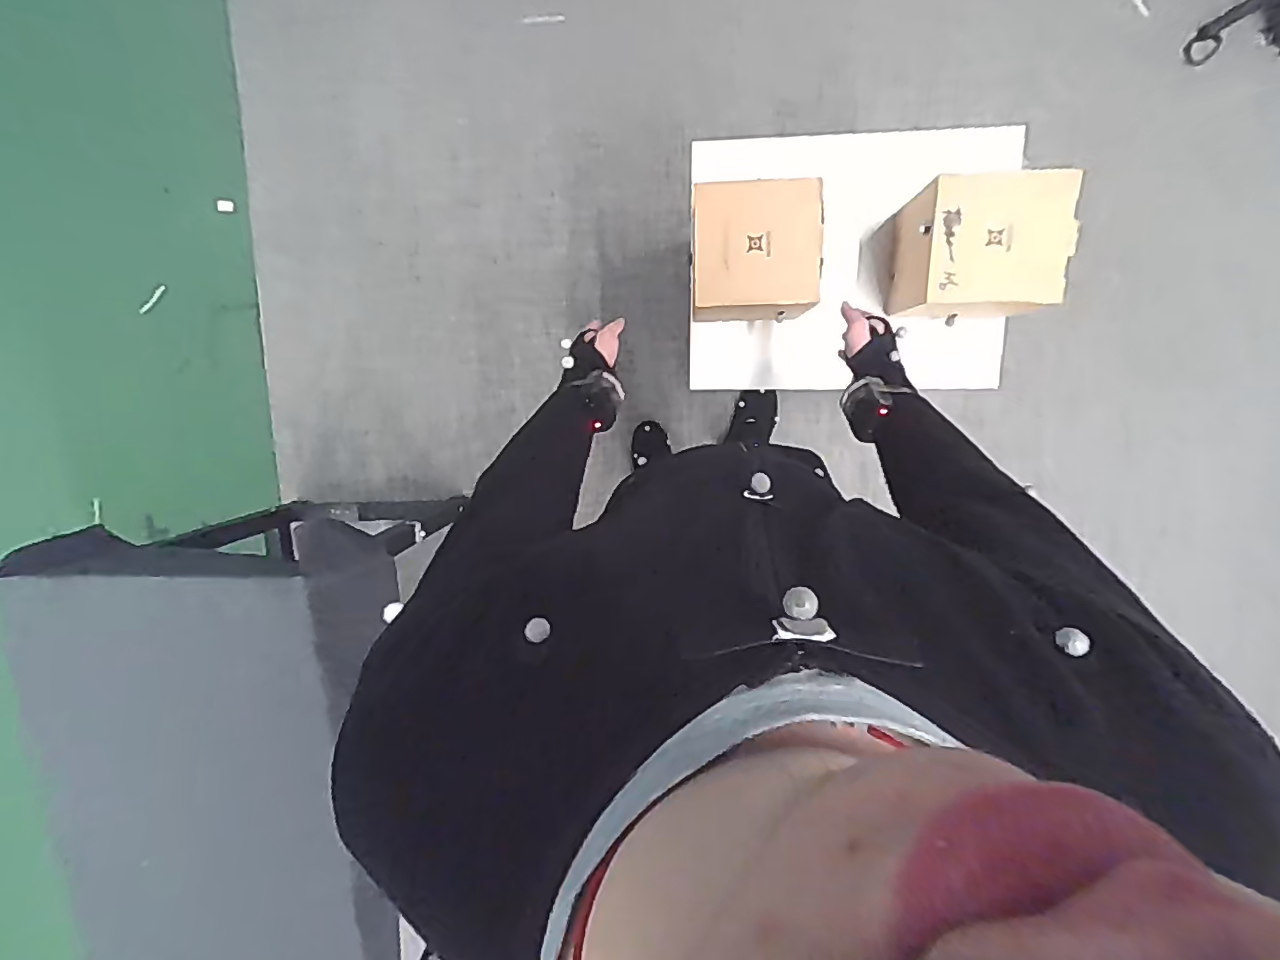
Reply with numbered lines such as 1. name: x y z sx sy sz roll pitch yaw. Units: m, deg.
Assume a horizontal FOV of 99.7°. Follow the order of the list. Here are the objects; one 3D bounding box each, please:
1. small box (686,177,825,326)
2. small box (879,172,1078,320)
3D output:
1. small box: 0.162 -0.326 0.802 0.179 0.176 0.168 -2 98 3
2. small box: 0.475 -0.328 0.785 0.179 0.176 0.168 1 100 3
